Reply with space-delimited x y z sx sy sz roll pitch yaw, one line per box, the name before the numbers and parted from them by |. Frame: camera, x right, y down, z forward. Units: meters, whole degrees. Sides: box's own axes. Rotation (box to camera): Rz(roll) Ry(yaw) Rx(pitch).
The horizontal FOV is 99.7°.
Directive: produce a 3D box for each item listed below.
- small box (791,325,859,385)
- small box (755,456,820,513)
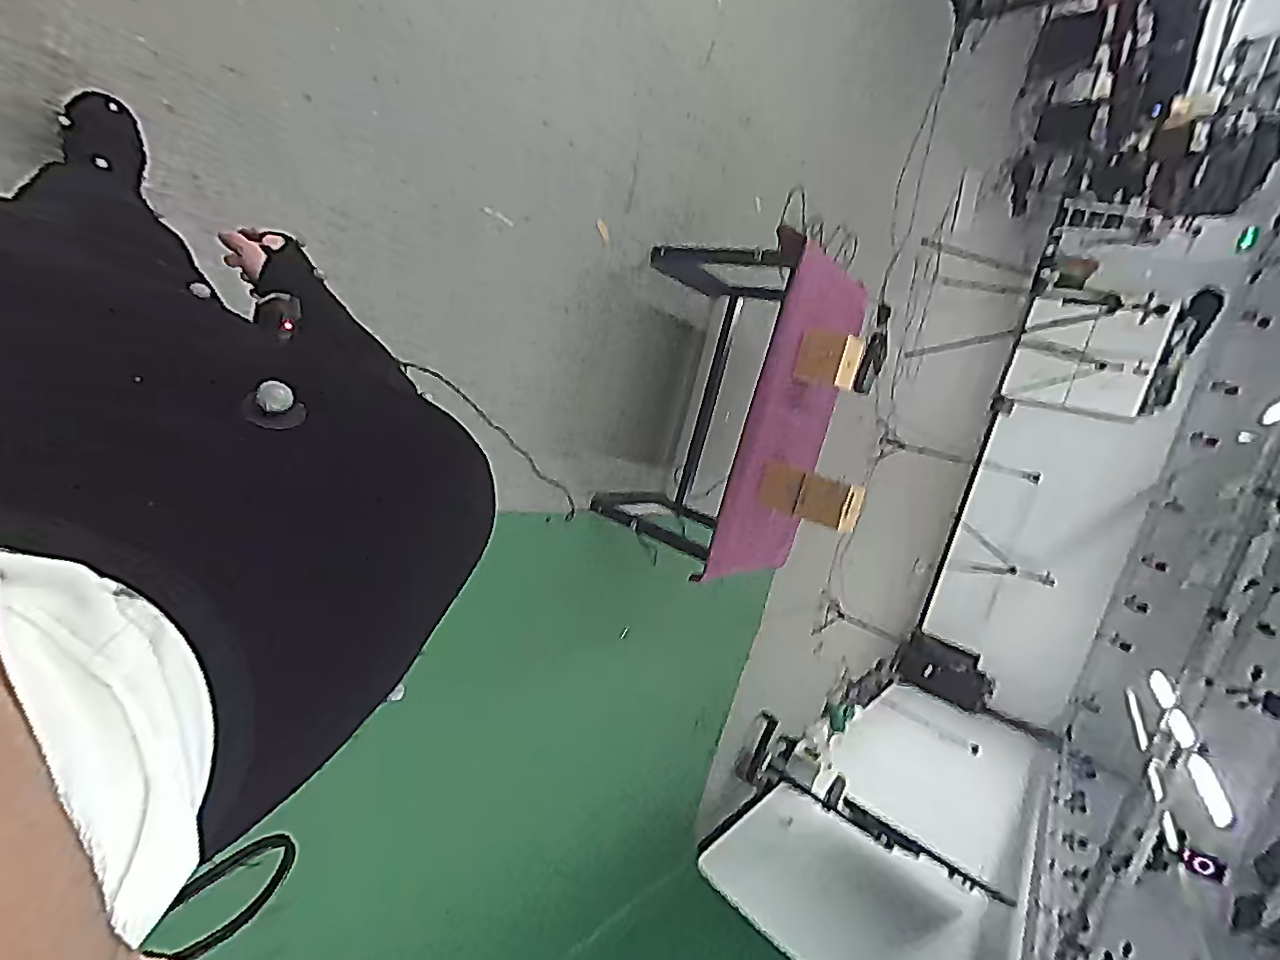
small box | 0.678 -0.463 1.995 0.168 0.176 0.179 1 106 -50
small box | 0.563 0.015 2.077 0.168 0.176 0.179 8 101 -51
